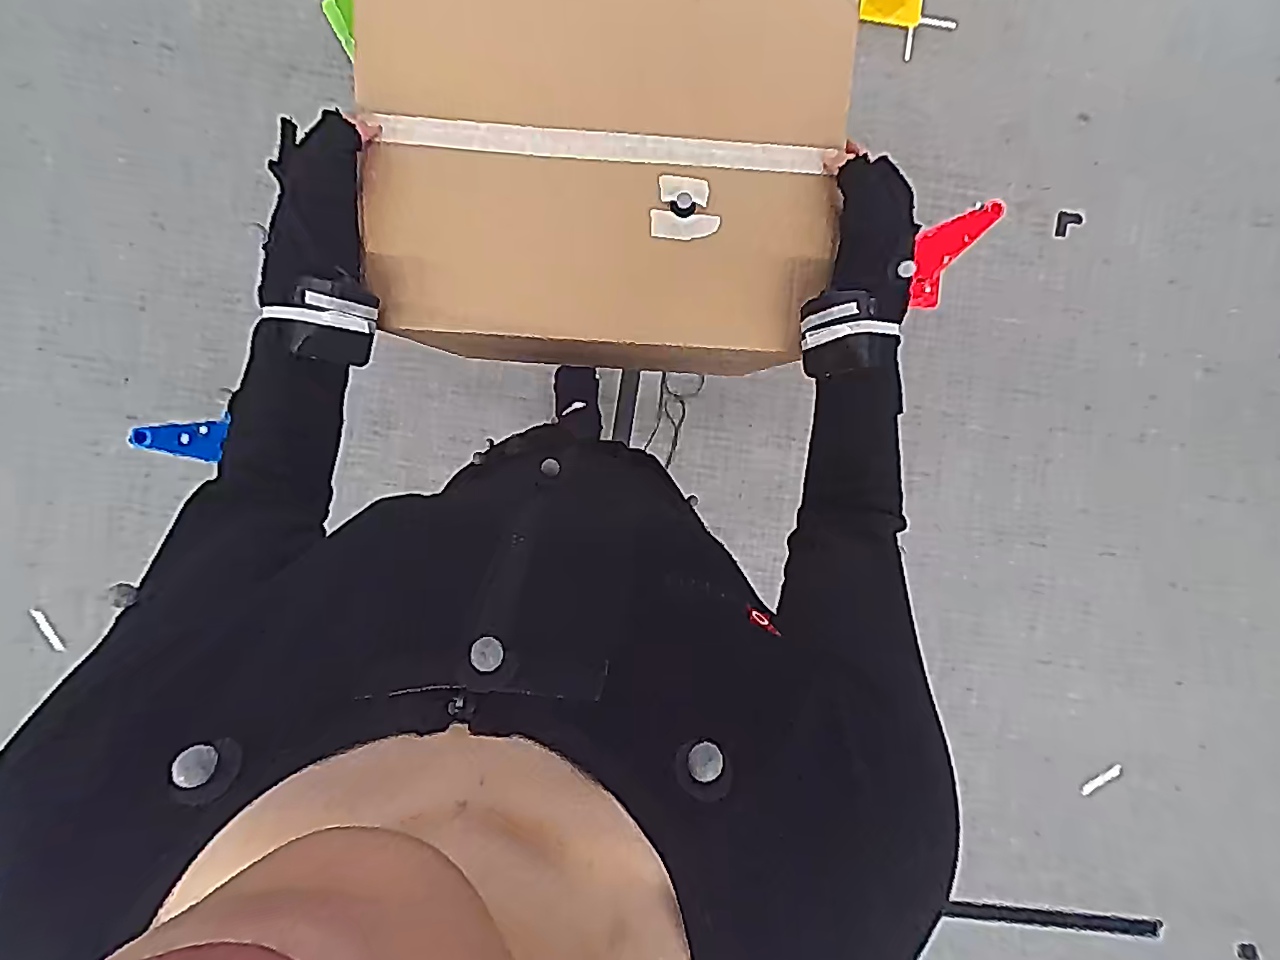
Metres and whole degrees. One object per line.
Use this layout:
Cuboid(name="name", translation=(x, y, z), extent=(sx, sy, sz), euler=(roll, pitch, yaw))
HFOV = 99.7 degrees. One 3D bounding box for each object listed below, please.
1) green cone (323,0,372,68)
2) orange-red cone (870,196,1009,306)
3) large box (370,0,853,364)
Cuboid(name="green cone", translation=(-0.679, -1.178, 1.209), extent=(0.202, 0.368, 0.200), euler=(-30, 92, 0))
Cuboid(name="orange-red cone", translation=(0.733, -0.575, 1.291), extent=(0.198, 0.360, 0.199), euler=(5, 90, -4))
Cuboid(name="large box", translation=(-0.034, -0.306, 0.604), extent=(0.408, 0.320, 0.320), euler=(3, 98, -4))
